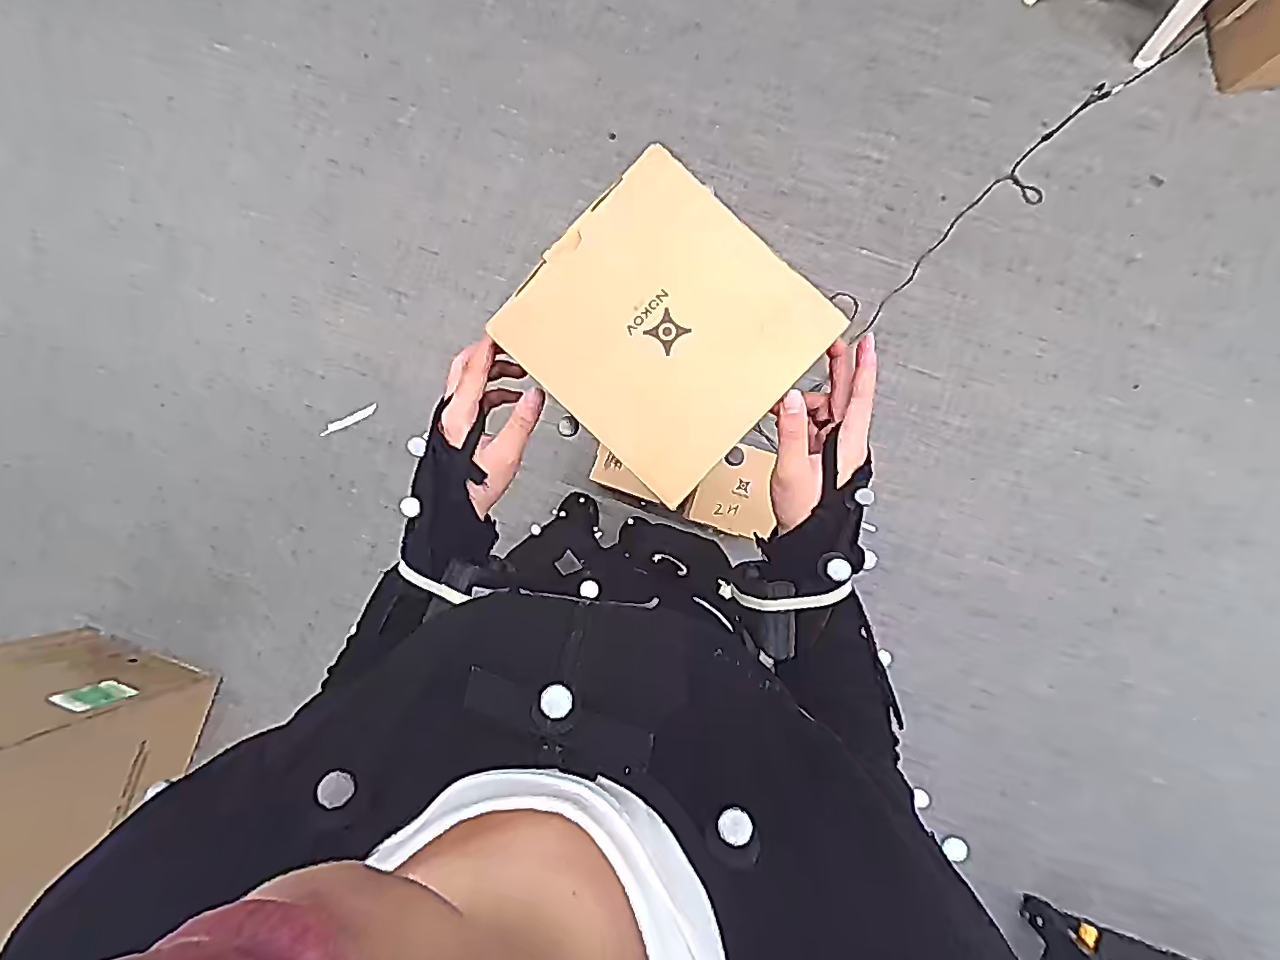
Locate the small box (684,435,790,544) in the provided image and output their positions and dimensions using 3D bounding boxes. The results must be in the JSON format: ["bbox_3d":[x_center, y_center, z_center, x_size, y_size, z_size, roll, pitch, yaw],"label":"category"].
[{"bbox_3d":[0.193,0.022,1.132,0.168,0.176,0.179,18,88,4],"label":"small box"}]
